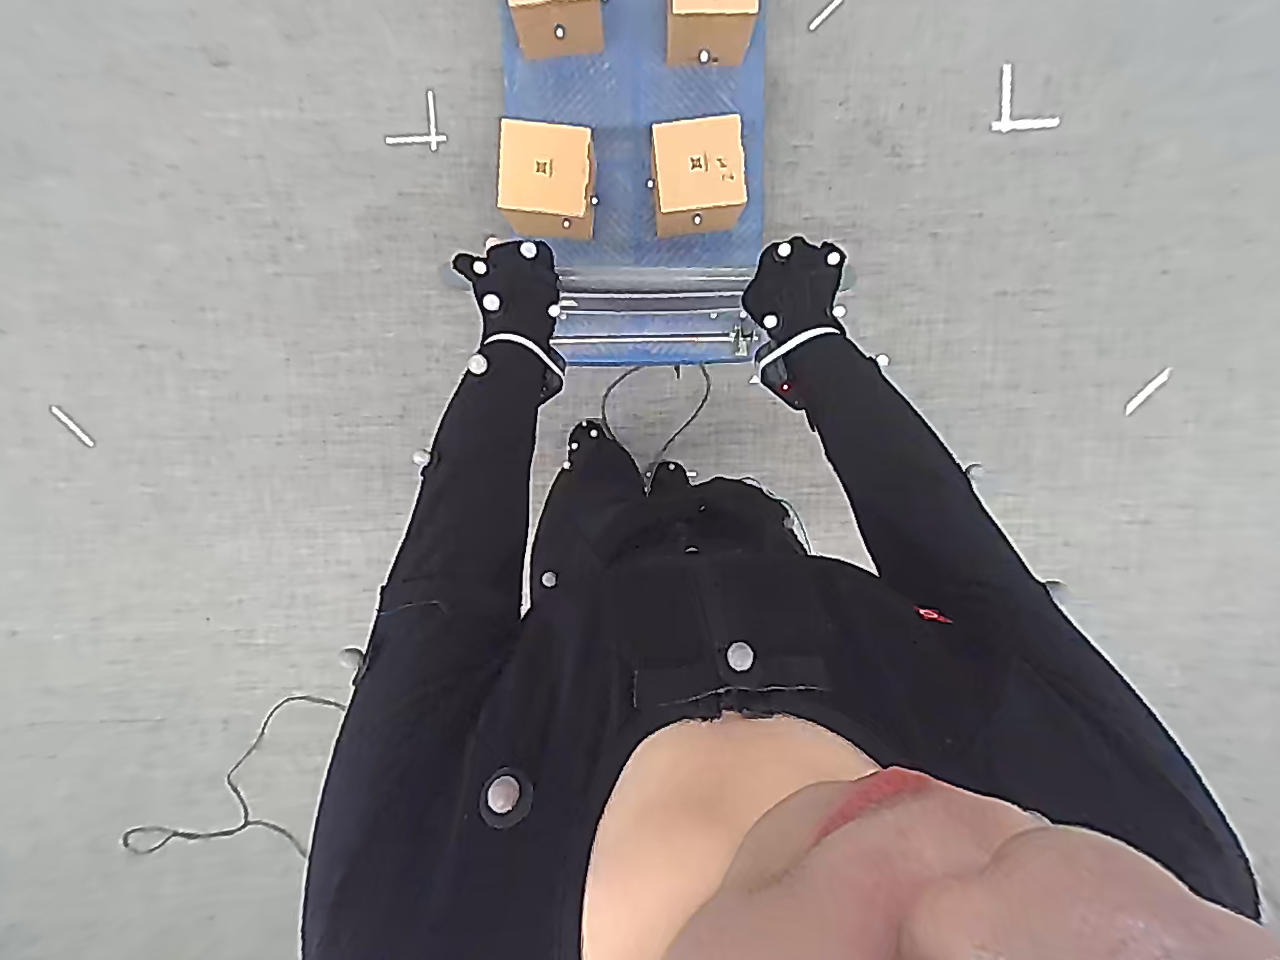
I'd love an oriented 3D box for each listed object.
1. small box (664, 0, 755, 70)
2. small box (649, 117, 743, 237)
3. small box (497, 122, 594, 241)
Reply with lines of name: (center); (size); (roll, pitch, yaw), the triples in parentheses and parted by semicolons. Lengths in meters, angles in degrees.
small box: (0.136, -0.983, 1.102); (0.168, 0.176, 0.179); (-1, 99, -1)
small box: (0.114, -0.632, 1.149); (0.179, 0.176, 0.168); (-6, 98, 0)
small box: (-0.194, -0.623, 1.147); (0.179, 0.176, 0.168); (4, 97, -3)
